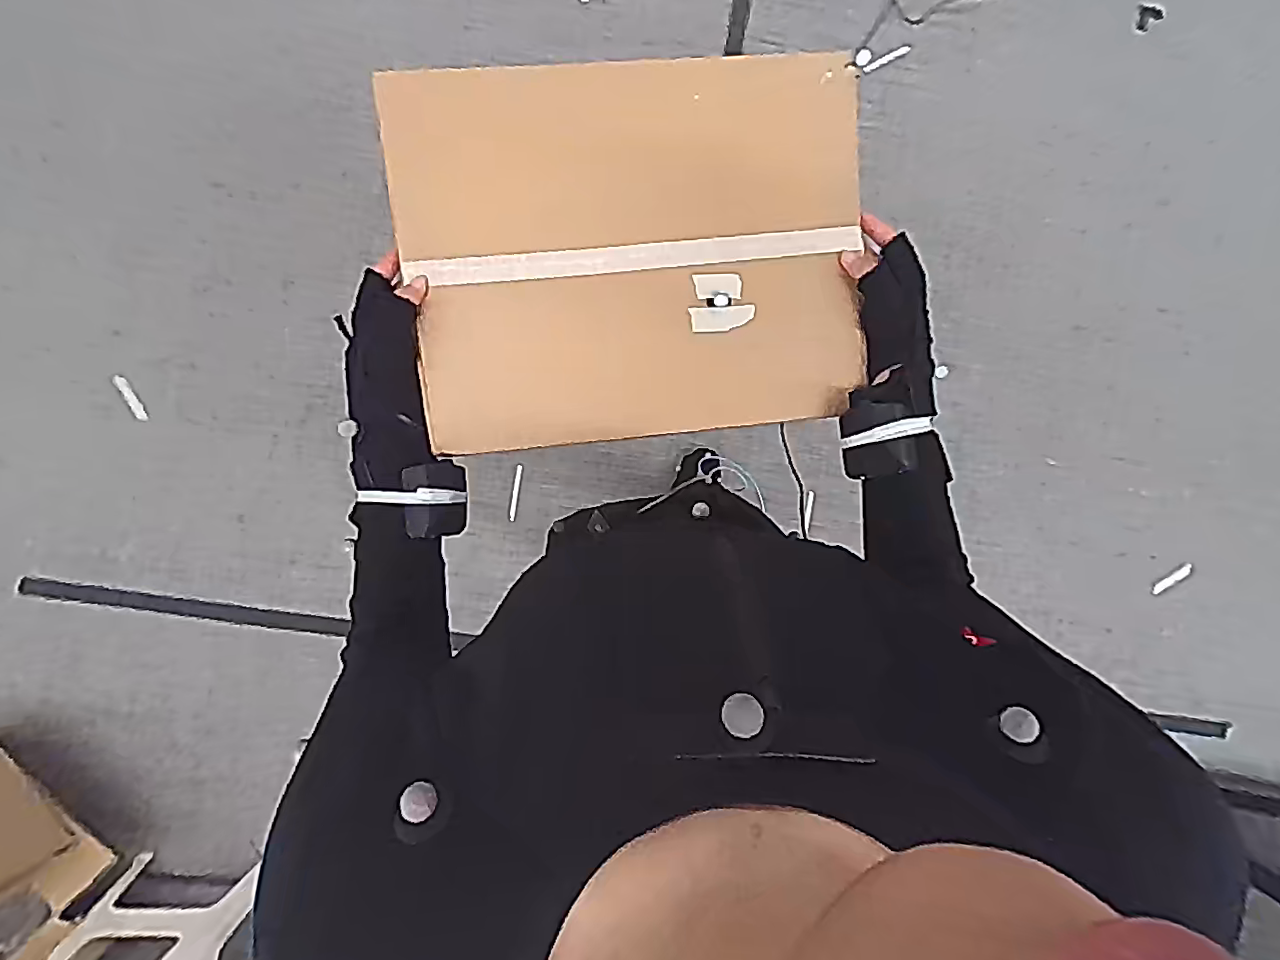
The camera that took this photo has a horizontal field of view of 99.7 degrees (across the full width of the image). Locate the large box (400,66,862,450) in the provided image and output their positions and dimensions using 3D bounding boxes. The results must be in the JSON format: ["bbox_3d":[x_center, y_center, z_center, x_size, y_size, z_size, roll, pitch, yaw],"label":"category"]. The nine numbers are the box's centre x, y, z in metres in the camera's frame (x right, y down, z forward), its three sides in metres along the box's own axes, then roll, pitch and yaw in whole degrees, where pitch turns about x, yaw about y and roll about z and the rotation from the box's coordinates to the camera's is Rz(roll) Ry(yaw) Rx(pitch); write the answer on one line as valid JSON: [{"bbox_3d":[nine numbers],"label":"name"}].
[{"bbox_3d":[-0.008,-0.221,0.635,0.408,0.320,0.320,-6,100,-5],"label":"large box"}]
